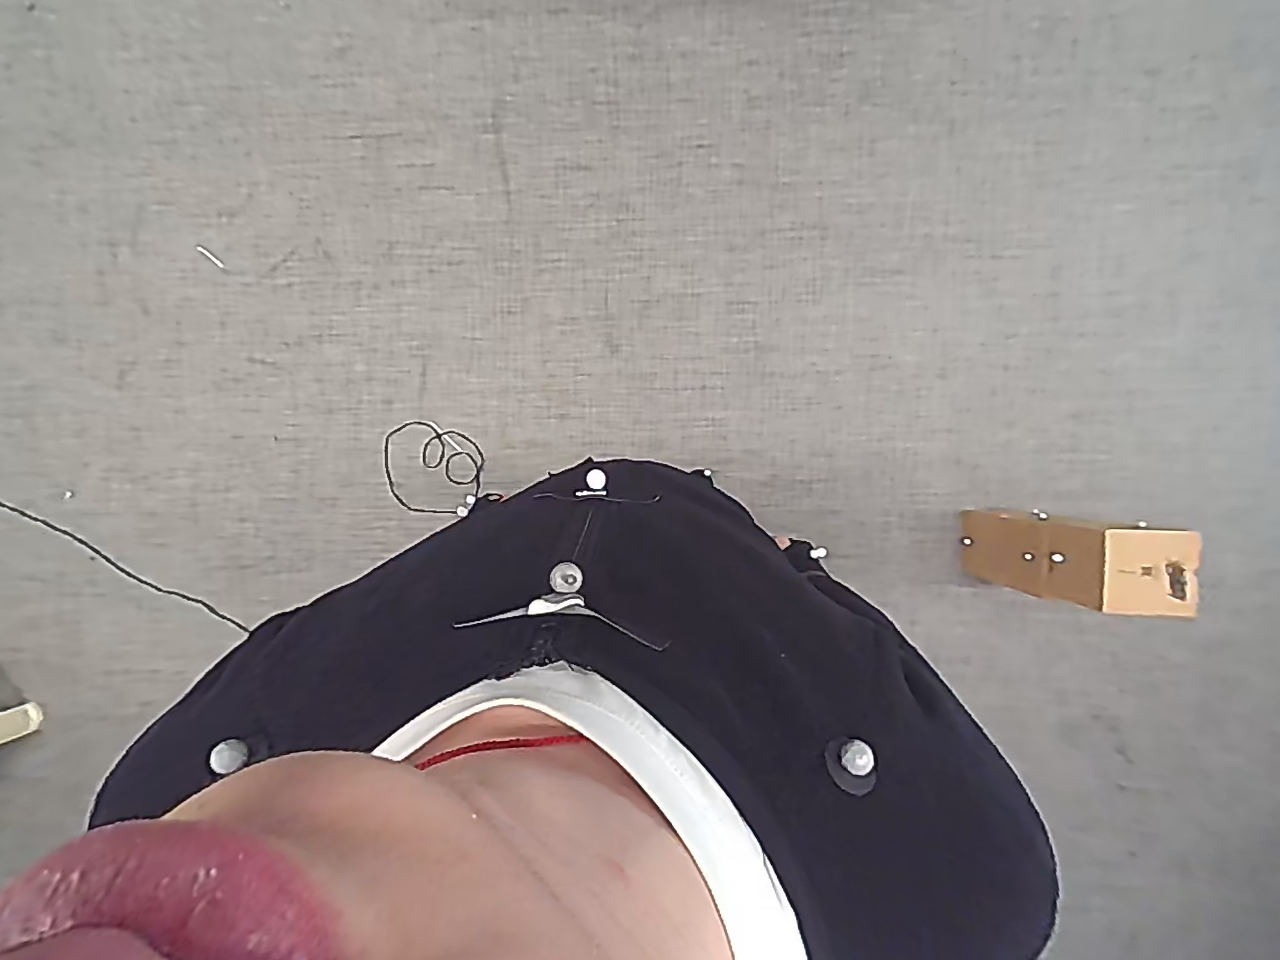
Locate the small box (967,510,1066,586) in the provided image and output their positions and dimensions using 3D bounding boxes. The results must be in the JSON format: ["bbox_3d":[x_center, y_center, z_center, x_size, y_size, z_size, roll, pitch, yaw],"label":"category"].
[{"bbox_3d":[0.998,0.179,1.436,0.168,0.176,0.179,1,92,2],"label":"small box"}]

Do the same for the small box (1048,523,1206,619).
[{"bbox_3d":[0.988,0.178,1.109,0.179,0.176,0.168,2,91,4],"label":"small box"}]

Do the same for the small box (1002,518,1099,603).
[{"bbox_3d":[0.988,0.183,1.274,0.168,0.176,0.179,1,93,3],"label":"small box"}]
